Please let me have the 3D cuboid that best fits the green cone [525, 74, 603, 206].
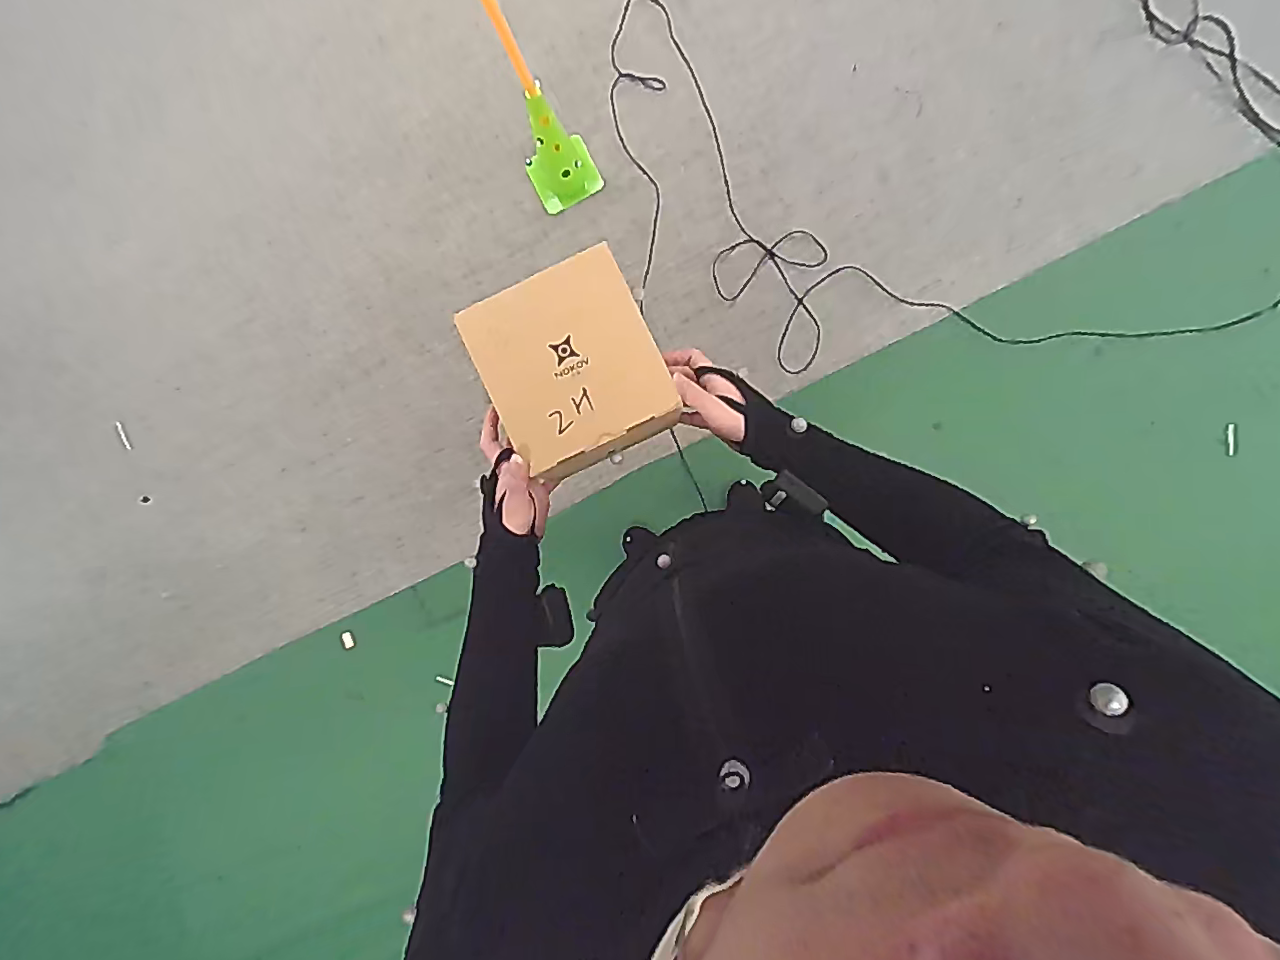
[{"bbox_3d":[-0.250,-0.985,1.525,0.202,0.368,0.200,-27,88,2],"label":"green cone"}]
